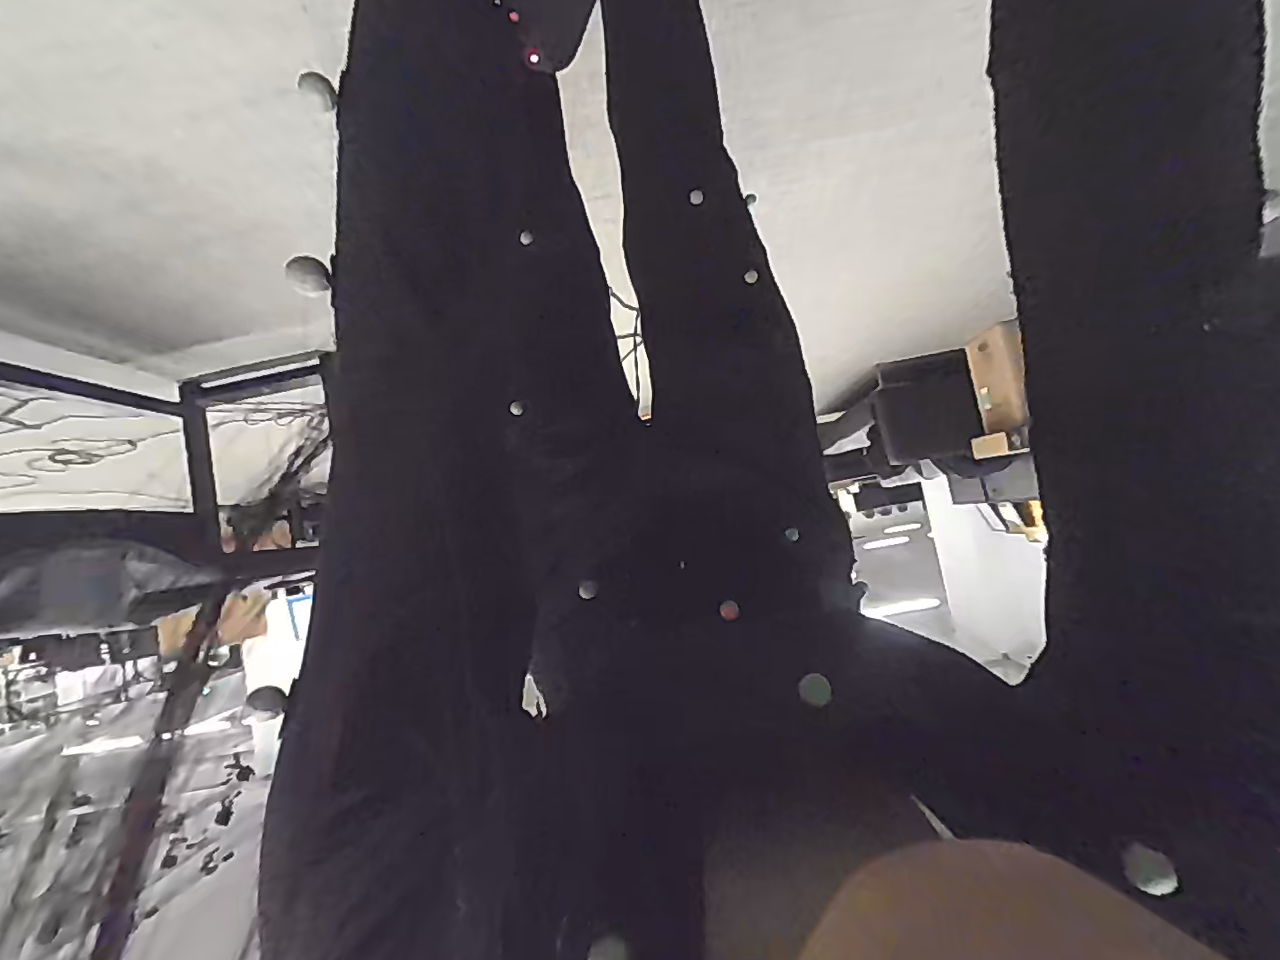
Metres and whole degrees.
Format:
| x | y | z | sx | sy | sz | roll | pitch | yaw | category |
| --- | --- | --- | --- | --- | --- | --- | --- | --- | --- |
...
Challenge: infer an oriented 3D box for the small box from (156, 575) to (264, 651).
| x | y | z | sx | sy | sz | roll | pitch | yaw | category |
| --- | --- | --- | --- | --- | --- | --- | --- | --- | --- |
| -1.187 | 0.359 | 1.494 | 0.179 | 0.176 | 0.168 | -11 | 175 | 5 | small box |
